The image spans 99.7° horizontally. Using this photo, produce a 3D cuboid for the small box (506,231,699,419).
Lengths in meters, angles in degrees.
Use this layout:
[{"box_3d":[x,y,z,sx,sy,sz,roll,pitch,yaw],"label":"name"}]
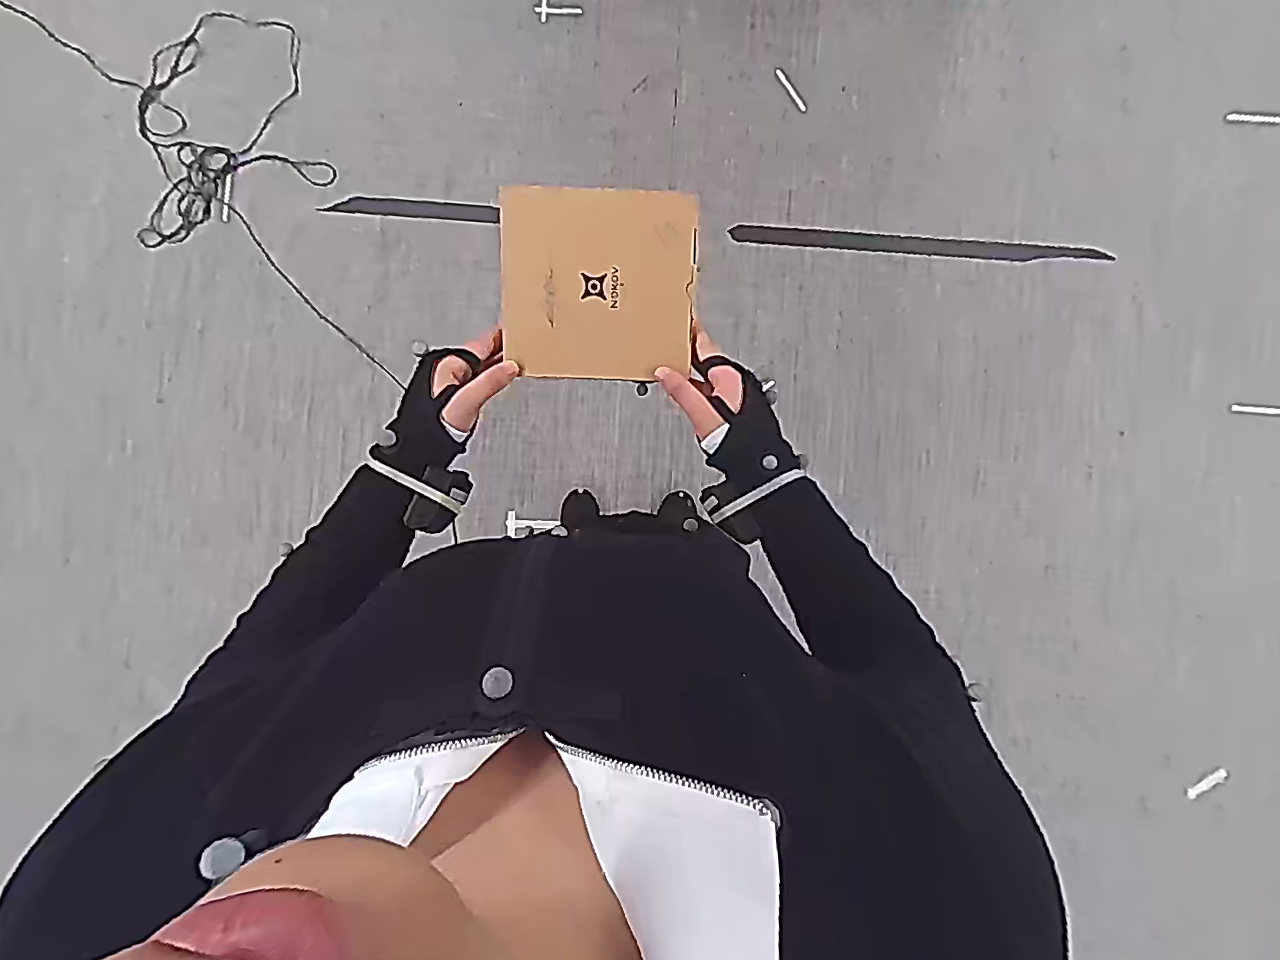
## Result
[{"box_3d":[-0.036,-0.155,0.577,0.179,0.176,0.168,1,99,0],"label":"small box"}]
